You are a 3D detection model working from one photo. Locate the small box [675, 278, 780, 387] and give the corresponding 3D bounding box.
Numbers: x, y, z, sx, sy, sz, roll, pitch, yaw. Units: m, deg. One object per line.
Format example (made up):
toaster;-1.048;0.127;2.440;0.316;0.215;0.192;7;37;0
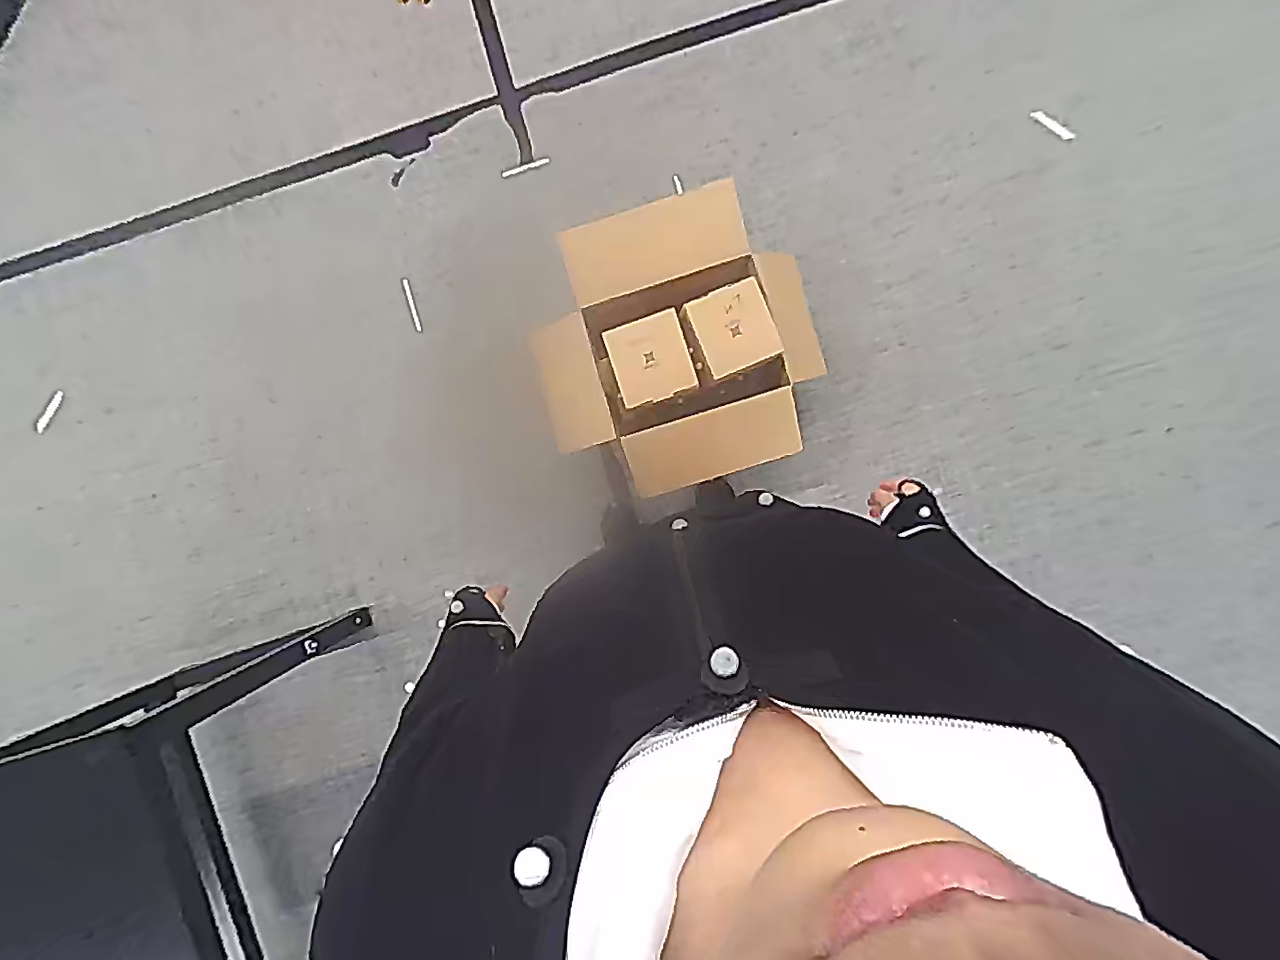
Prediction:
small box;0.191;-0.321;1.226;0.168;0.176;0.179;-23;92;-2
